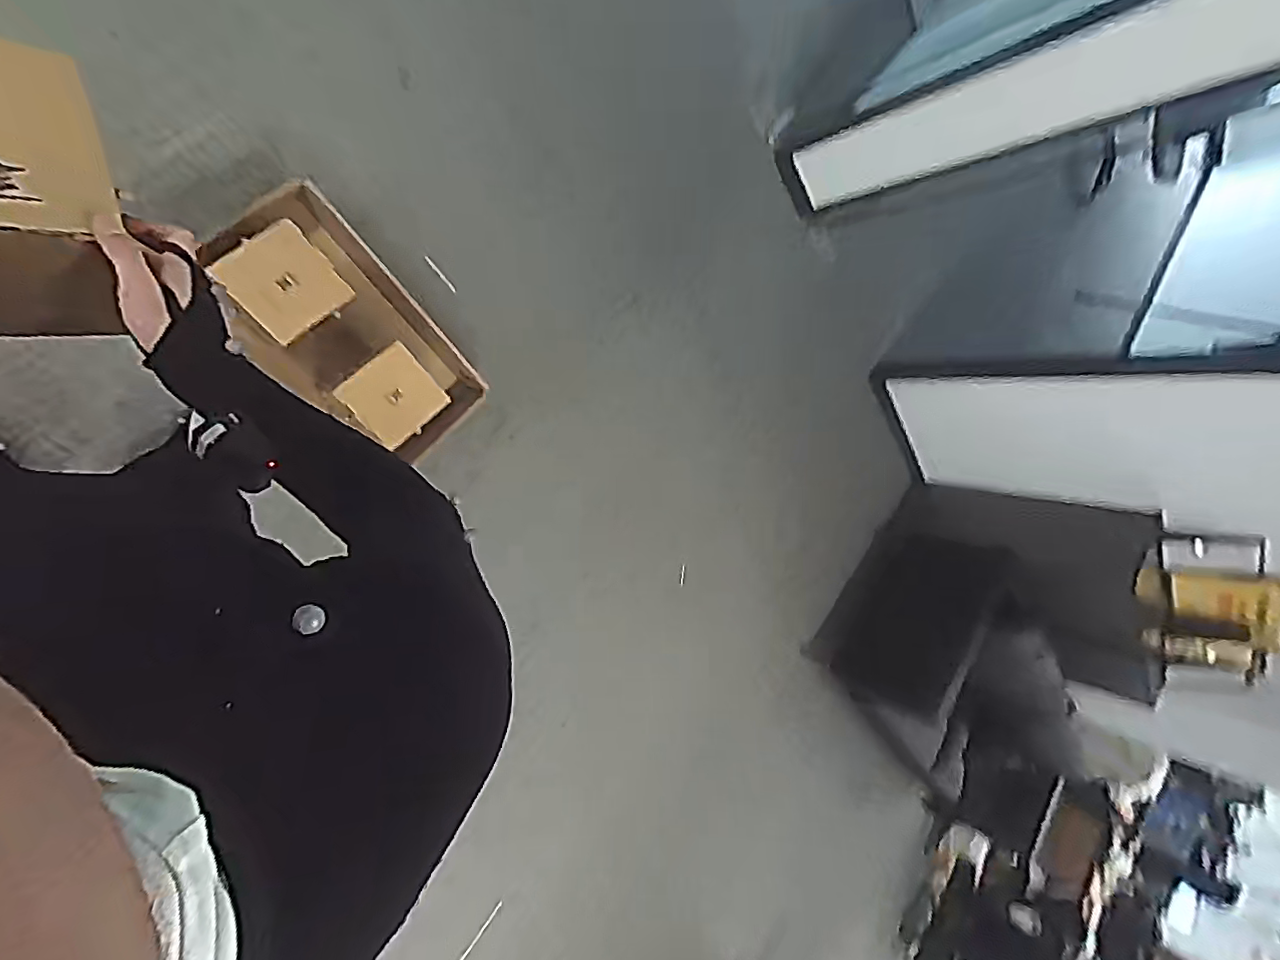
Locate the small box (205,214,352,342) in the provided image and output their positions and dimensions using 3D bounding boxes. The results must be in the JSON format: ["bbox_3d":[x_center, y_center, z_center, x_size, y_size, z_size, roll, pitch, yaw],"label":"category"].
[{"bbox_3d":[-0.717,-0.392,1.071,0.179,0.176,0.168,-47,123,-20],"label":"small box"}]

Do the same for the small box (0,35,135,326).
[{"bbox_3d":[-0.563,-0.243,0.458,0.168,0.176,0.179,-16,84,-40],"label":"small box"}]

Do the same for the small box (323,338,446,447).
[{"bbox_3d":[-0.578,-0.199,1.216,0.179,0.176,0.168,-47,123,-19],"label":"small box"}]

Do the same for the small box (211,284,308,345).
[{"bbox_3d":[-0.813,-0.419,1.199,0.179,0.176,0.168,-48,123,-21],"label":"small box"}]
